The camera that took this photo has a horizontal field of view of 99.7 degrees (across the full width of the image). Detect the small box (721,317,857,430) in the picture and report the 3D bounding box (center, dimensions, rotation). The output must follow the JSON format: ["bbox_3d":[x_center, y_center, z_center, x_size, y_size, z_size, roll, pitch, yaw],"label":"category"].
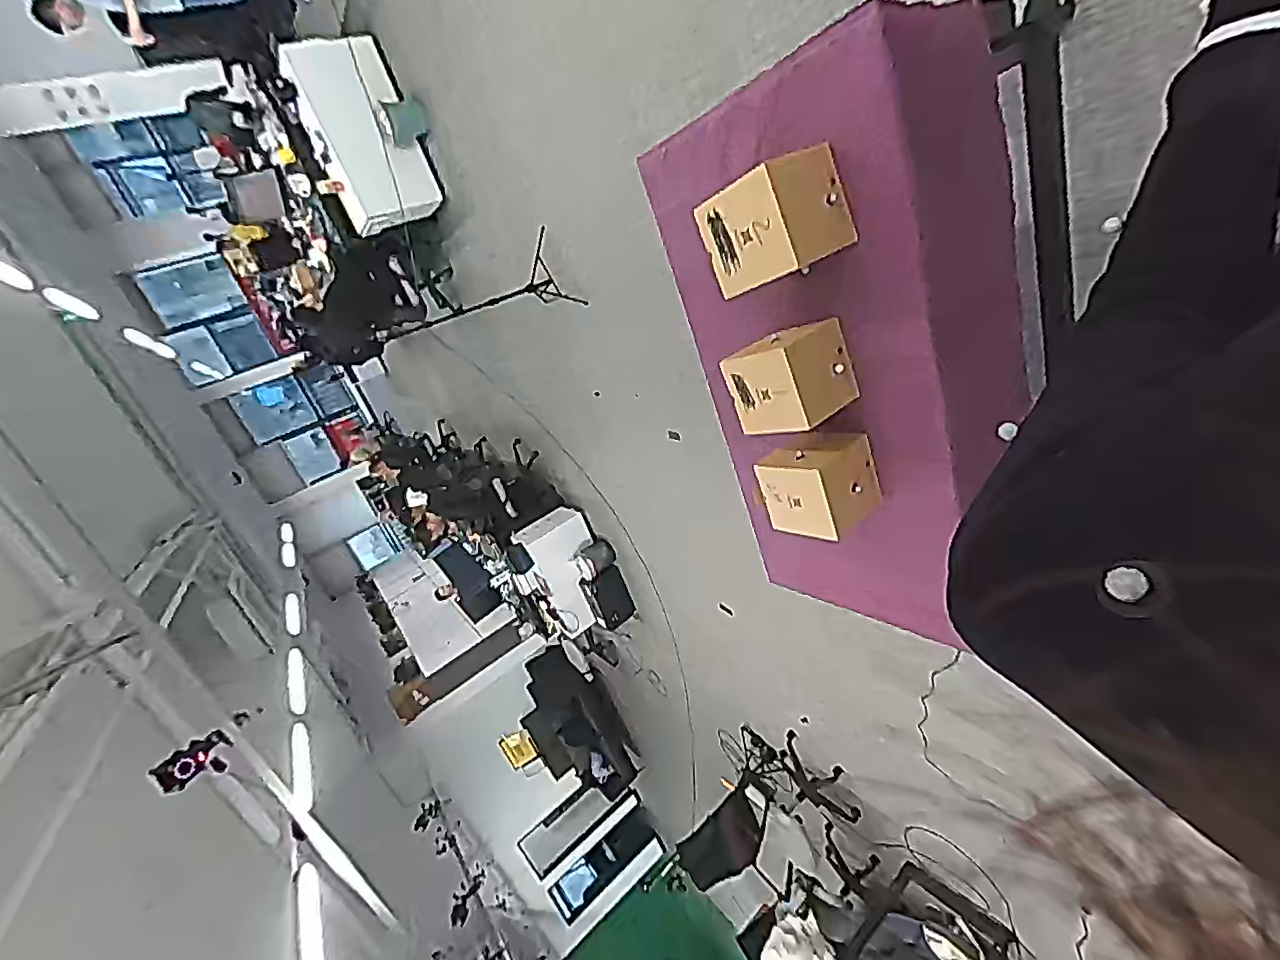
[{"bbox_3d":[0.301,-0.211,1.094,0.179,0.176,0.168,4,122,58],"label":"small box"}]

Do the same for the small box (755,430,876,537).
[{"bbox_3d":[0.387,0.000,1.172,0.179,0.176,0.168,9,126,56],"label":"small box"}]
